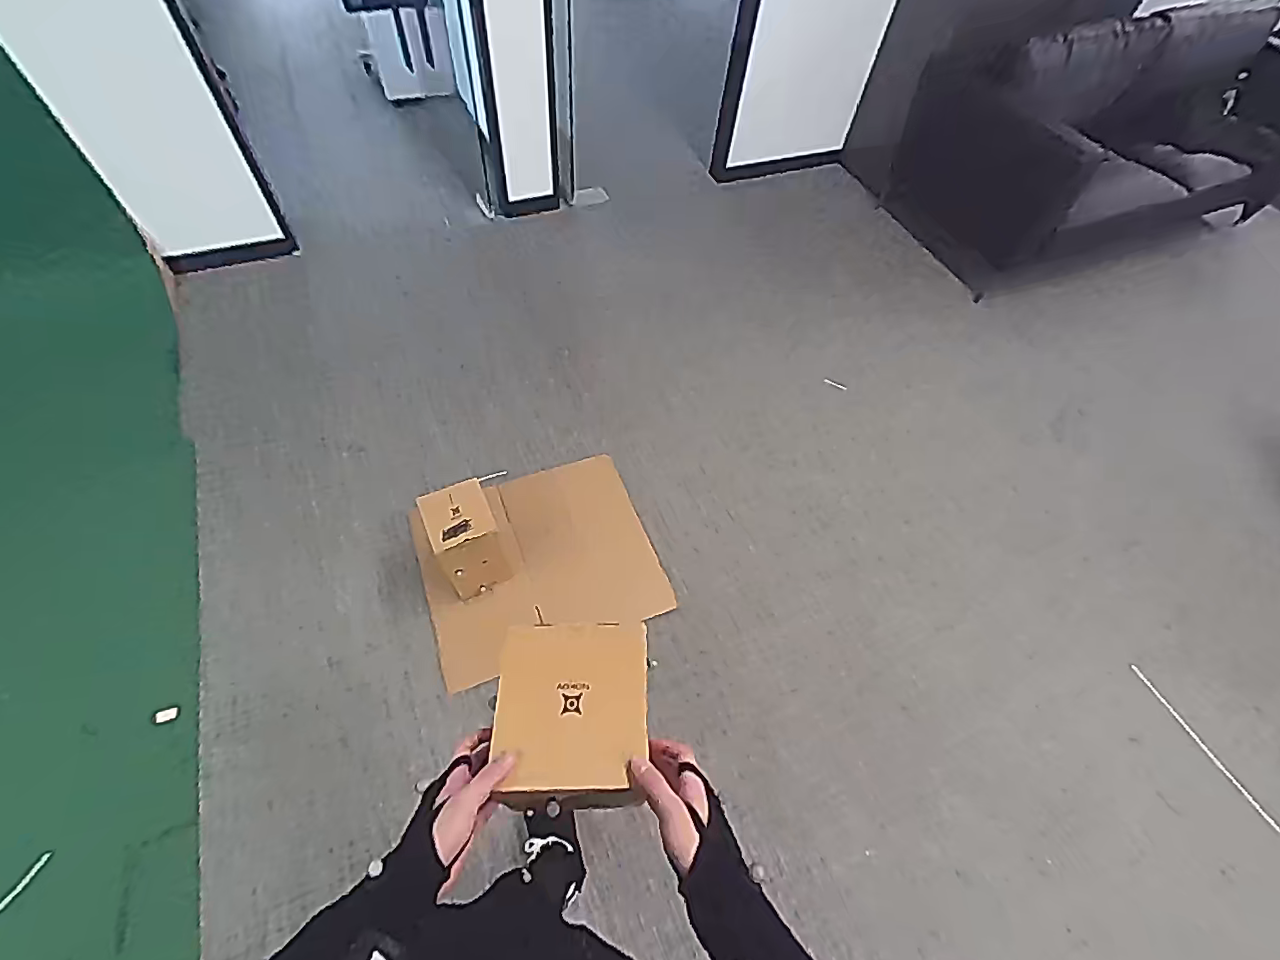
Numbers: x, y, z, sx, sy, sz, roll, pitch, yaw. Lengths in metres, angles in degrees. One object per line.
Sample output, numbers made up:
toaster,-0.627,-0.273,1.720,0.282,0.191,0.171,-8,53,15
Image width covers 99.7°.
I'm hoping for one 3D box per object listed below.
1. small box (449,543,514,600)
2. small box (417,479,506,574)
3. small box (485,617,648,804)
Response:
small box,-0.484,0.221,1.582,0.168,0.176,0.179,-24,63,-19
small box,-0.471,0.132,1.445,0.168,0.176,0.179,-21,61,-17
small box,-0.074,0.280,0.648,0.168,0.176,0.179,-1,52,-1
